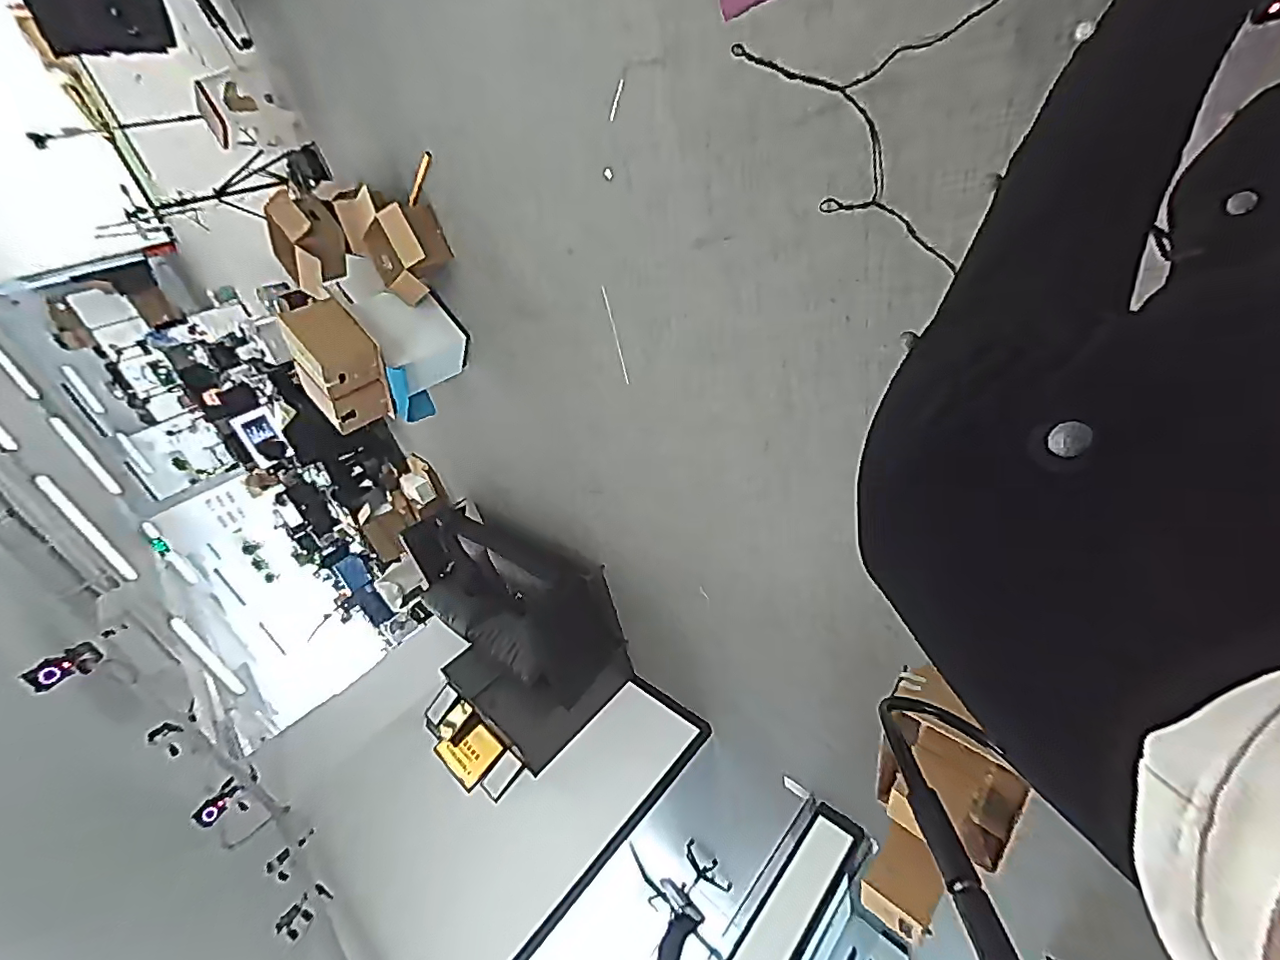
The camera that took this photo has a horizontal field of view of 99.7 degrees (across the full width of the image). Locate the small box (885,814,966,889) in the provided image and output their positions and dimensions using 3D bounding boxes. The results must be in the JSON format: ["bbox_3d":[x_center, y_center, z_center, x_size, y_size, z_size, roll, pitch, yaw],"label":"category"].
[{"bbox_3d":[0.899,1.122,1.708,0.179,0.176,0.168,18,134,40],"label":"small box"}]

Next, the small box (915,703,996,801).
[{"bbox_3d":[0.955,0.822,1.650,0.179,0.176,0.168,22,137,39],"label":"small box"}]

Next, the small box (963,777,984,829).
[{"bbox_3d":[1.009,1.042,1.799,0.179,0.176,0.168,20,135,40],"label":"small box"}]

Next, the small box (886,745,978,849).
[{"bbox_3d":[0.841,0.903,1.563,0.179,0.176,0.168,23,139,38],"label":"small box"}]
